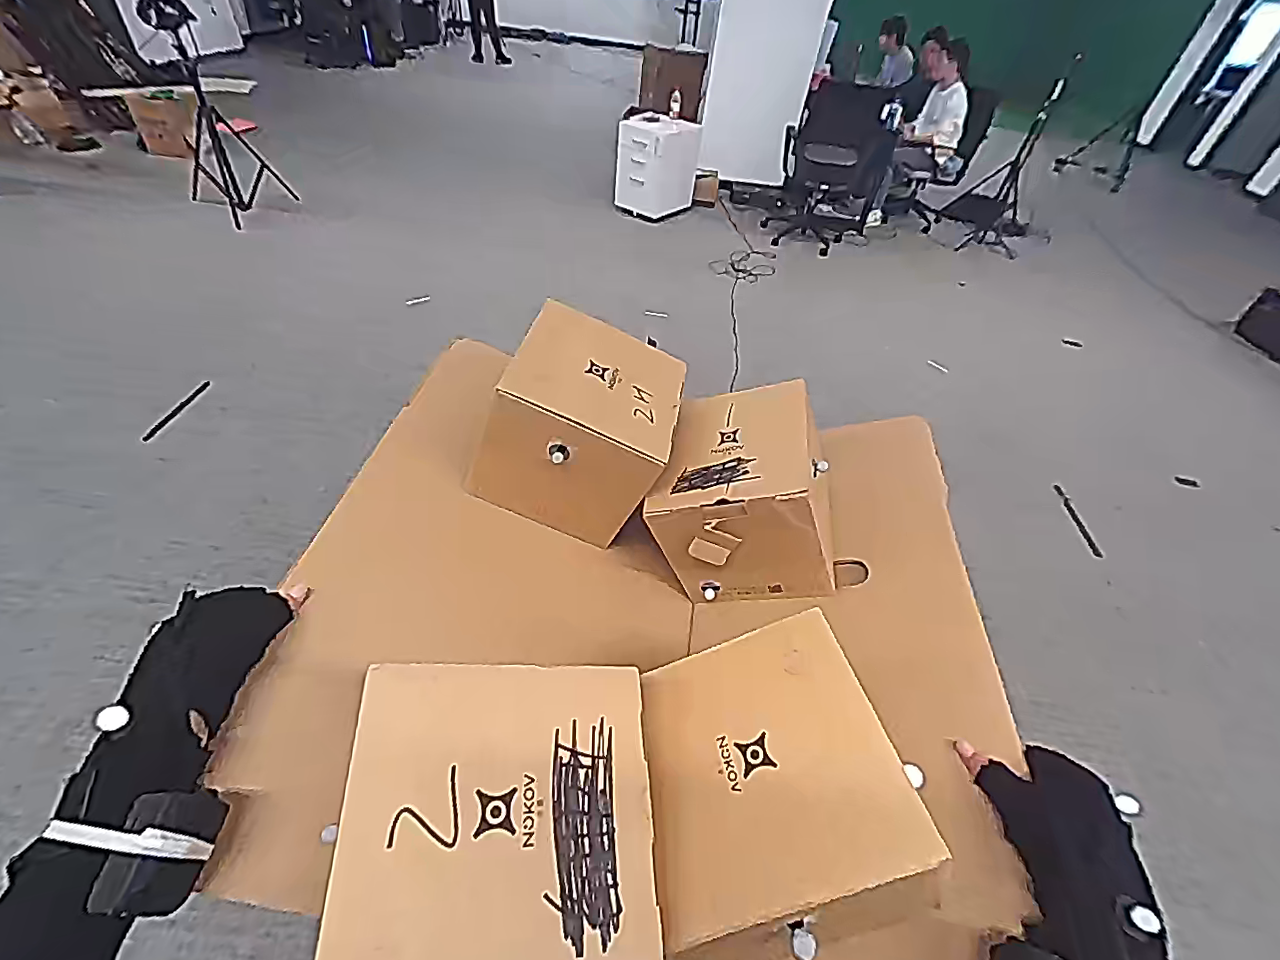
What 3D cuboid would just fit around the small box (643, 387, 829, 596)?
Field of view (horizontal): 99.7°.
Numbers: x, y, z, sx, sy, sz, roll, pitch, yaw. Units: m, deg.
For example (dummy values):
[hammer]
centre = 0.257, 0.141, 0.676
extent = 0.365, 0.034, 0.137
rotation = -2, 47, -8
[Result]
[small box]
centre = 0.121, 0.023, 0.628
extent = 0.168, 0.176, 0.179
rotation = -8, 42, 23
